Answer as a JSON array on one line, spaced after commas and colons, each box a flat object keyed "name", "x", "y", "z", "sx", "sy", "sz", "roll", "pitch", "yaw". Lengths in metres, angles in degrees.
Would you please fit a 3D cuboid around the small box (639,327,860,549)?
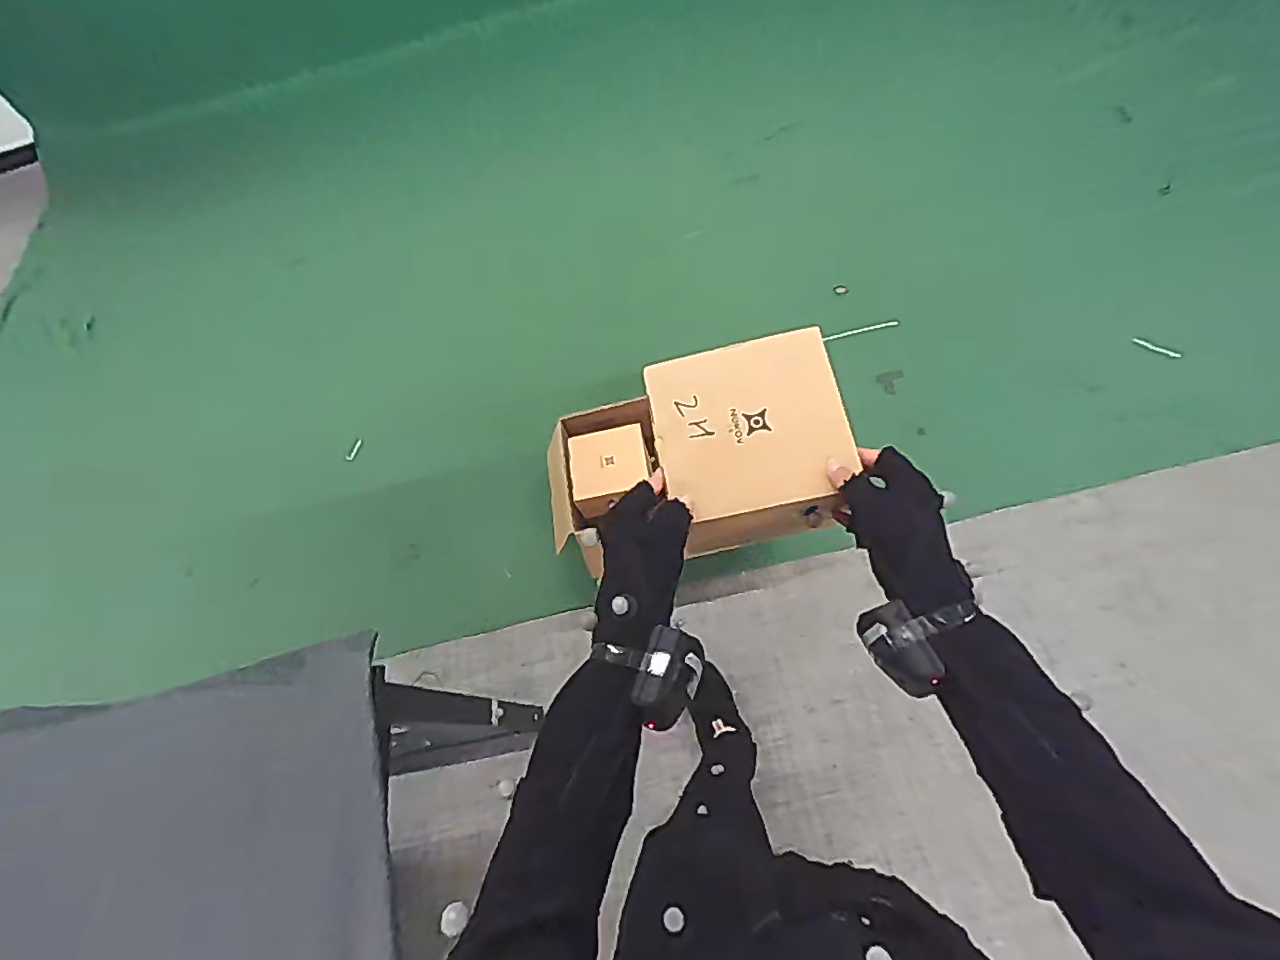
[{"name": "small box", "x": 0.108, "y": -0.031, "z": 0.575, "sx": 0.179, "sy": 0.176, "sz": 0.168, "roll": -13, "pitch": 71, "yaw": 7}]
